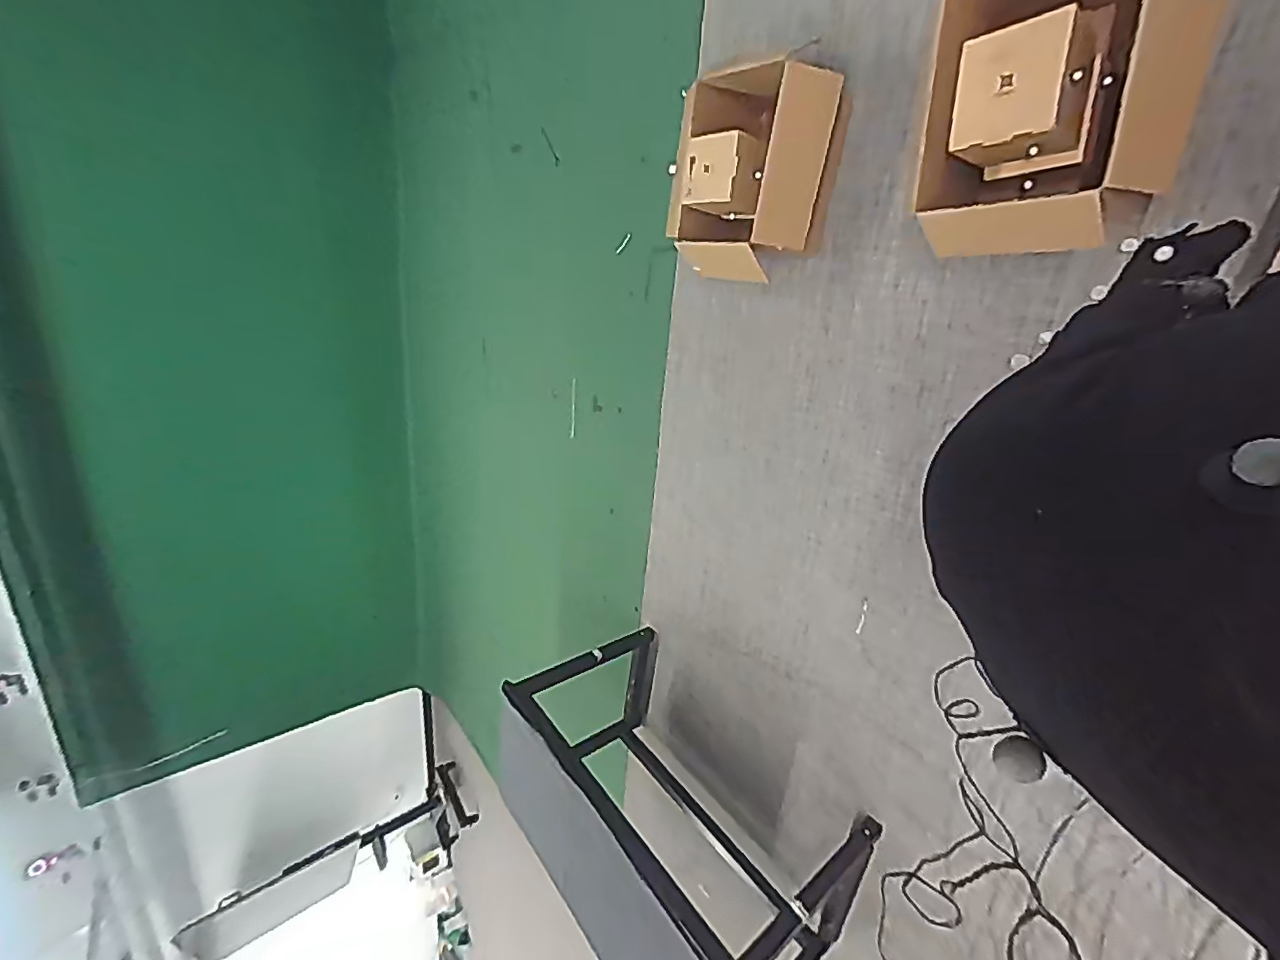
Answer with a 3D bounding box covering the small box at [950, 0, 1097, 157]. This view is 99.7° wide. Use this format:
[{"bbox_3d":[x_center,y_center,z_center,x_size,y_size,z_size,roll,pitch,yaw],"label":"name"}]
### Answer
[{"bbox_3d":[0.690,-0.702,0.974,0.168,0.176,0.179,18,114,47],"label":"small box"}]
